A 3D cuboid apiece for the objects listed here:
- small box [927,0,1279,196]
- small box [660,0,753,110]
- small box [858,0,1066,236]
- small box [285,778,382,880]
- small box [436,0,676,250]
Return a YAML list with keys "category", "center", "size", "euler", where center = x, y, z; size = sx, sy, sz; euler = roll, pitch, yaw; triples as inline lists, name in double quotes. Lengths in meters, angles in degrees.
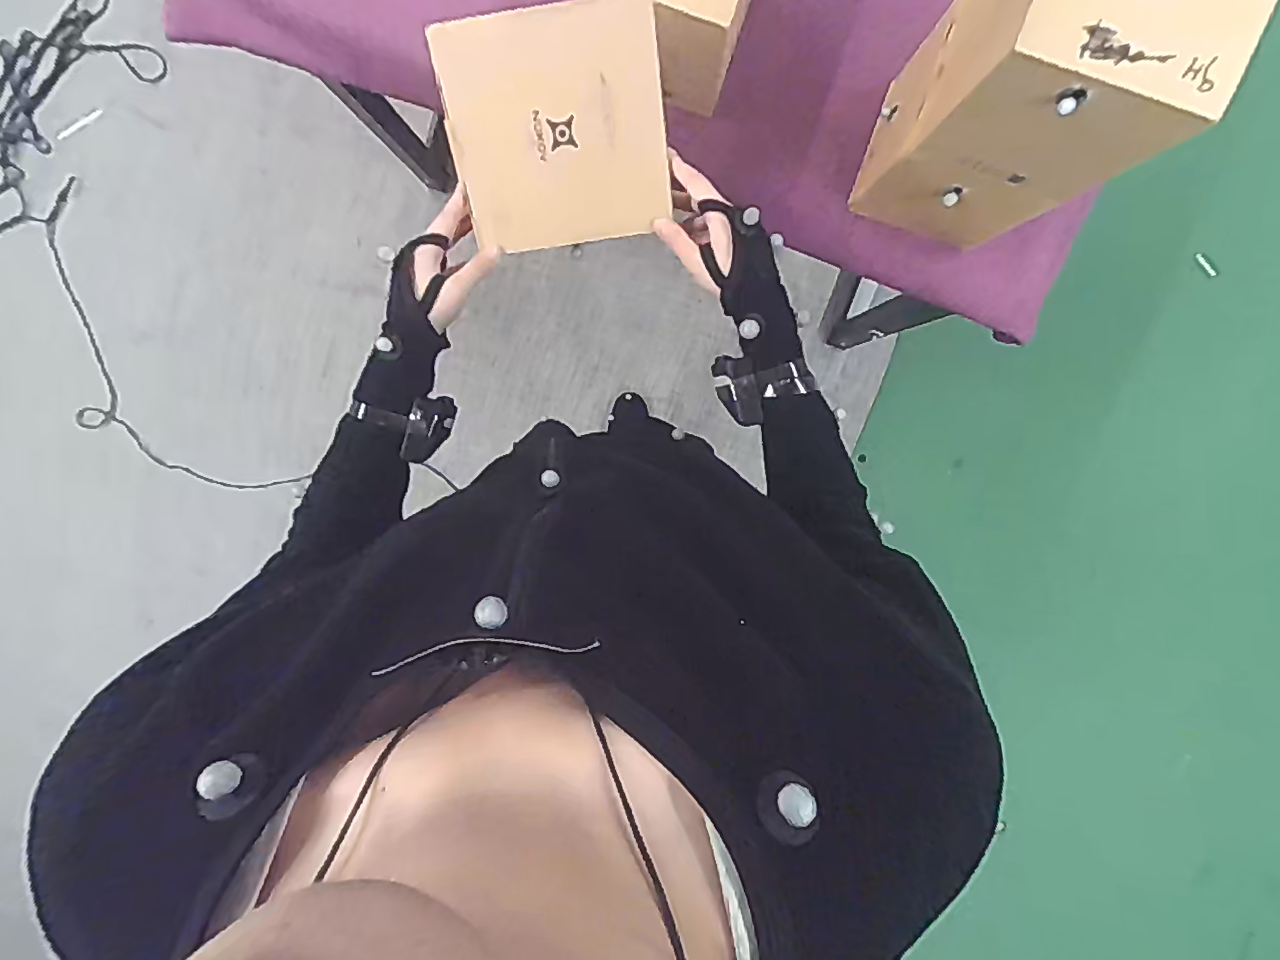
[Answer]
- category: "small box"
  center: [0.383, -0.384, 0.463]
  size: [0.168, 0.176, 0.179]
  euler: [19, 98, 2]
- category: "small box"
  center: [0.046, -0.572, 0.615]
  size: [0.168, 0.176, 0.179]
  euler: [19, 96, -1]
- category: "small box"
  center: [0.387, -0.404, 0.626]
  size: [0.179, 0.176, 0.168]
  euler: [18, 99, 1]
- category: "small box"
  center: [-0.863, 0.983, 1.538]
  size: [0.179, 0.176, 0.168]
  euler: [11, 97, 1]
- category: "small box"
  center: [-0.060, -0.318, 0.512]
  size: [0.179, 0.176, 0.168]
  euler: [-6, 116, 4]
